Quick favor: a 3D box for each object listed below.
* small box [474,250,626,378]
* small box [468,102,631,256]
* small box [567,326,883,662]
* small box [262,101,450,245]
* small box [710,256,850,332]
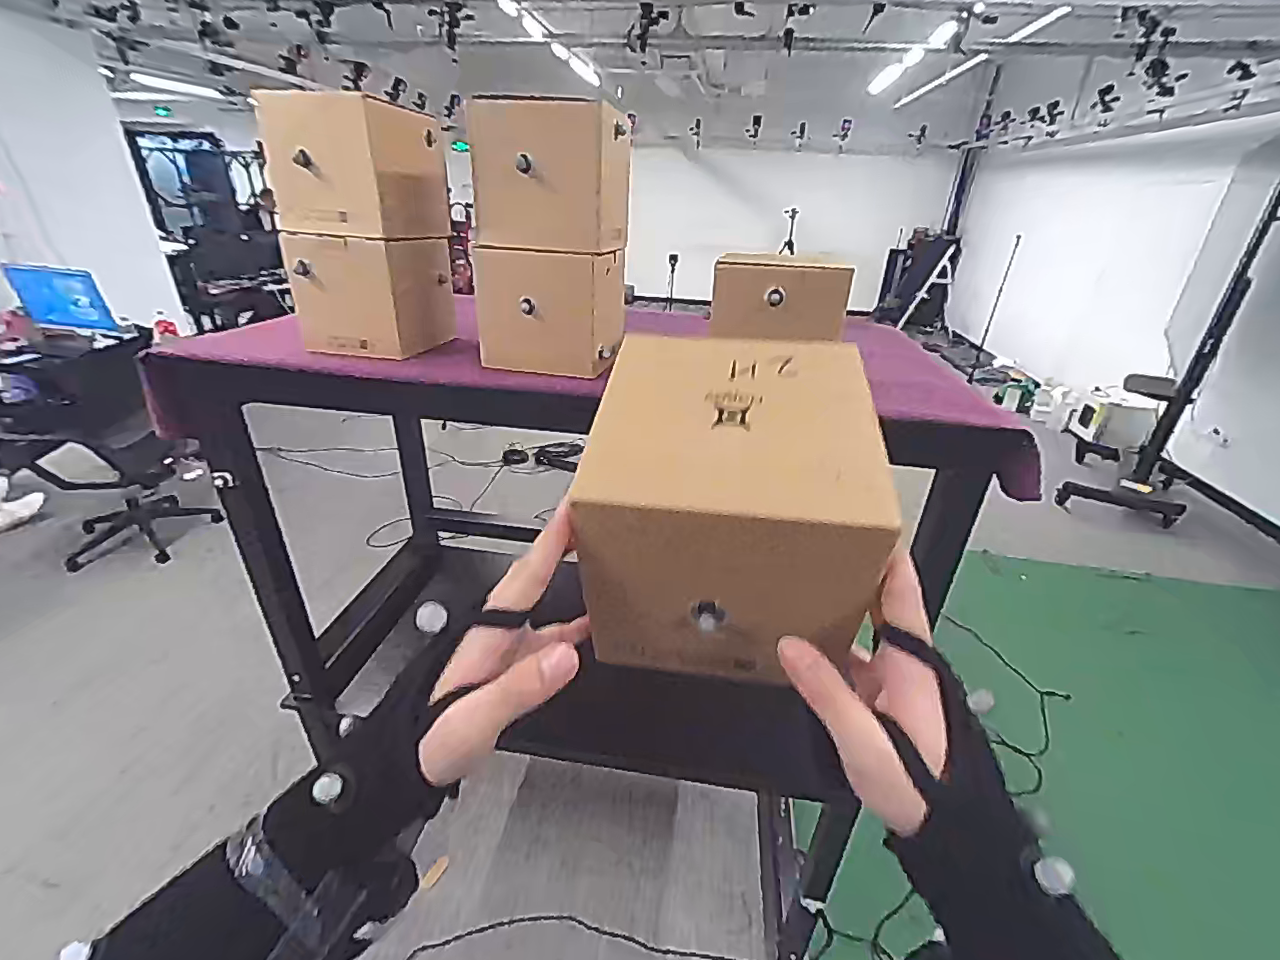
[{"bbox_3d":[-0.125,-0.259,0.822,0.179,0.176,0.168,7,27,12],"label":"small box"},{"bbox_3d":[-0.114,-0.408,0.754,0.179,0.176,0.168,6,27,9],"label":"small box"},{"bbox_3d":[0.059,0.008,0.389,0.168,0.176,0.179,5,44,9],"label":"small box"},{"bbox_3d":[-0.400,-0.442,0.799,0.168,0.176,0.179,8,26,11],"label":"small box"},{"bbox_3d":[0.196,-0.230,0.791,0.179,0.176,0.168,8,27,12],"label":"small box"}]
